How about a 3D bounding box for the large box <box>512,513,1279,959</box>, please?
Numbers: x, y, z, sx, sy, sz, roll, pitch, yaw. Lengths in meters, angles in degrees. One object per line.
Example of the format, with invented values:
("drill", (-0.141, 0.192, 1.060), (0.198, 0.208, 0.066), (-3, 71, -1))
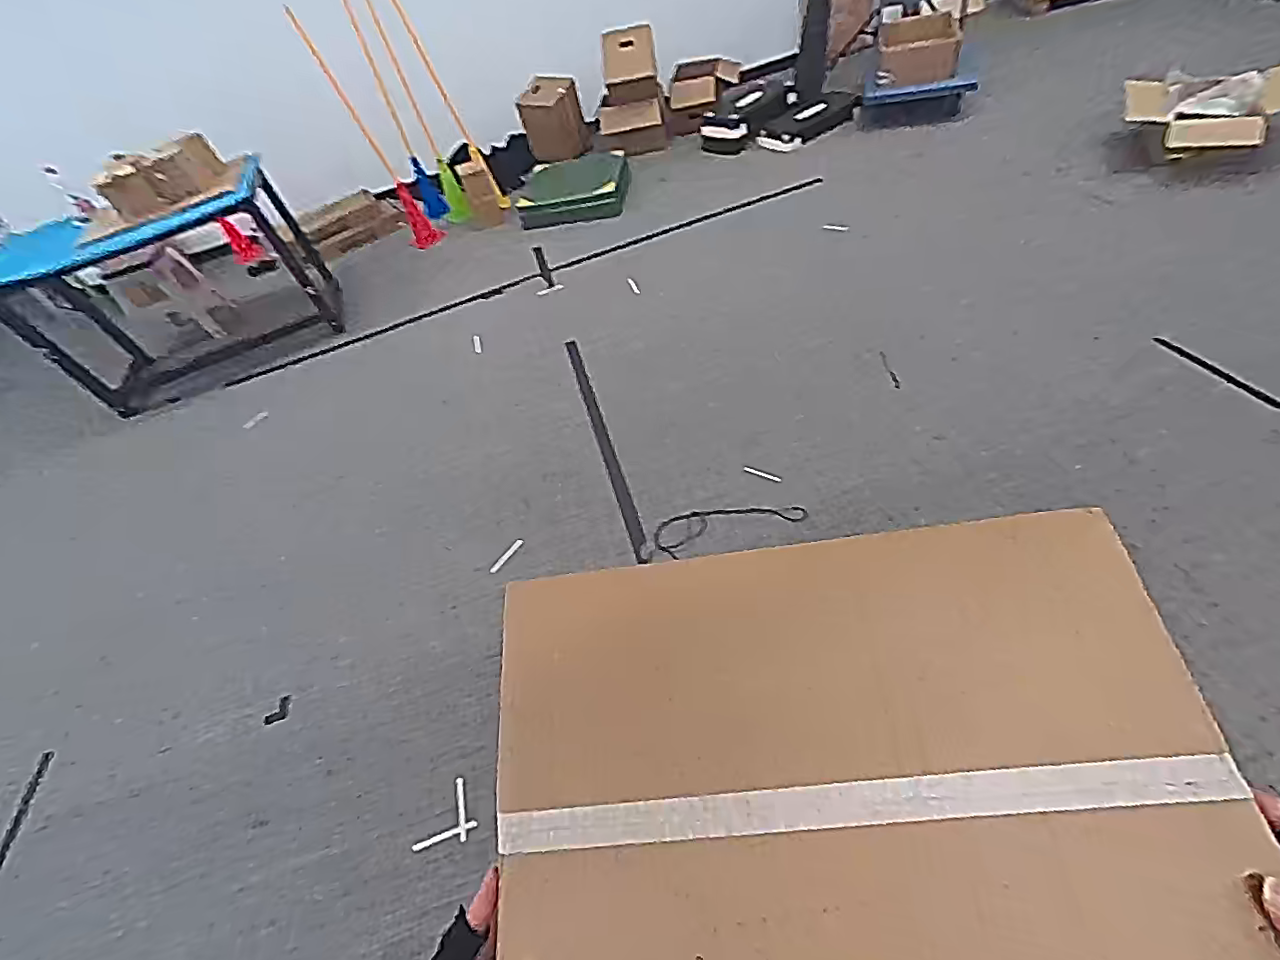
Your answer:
("large box", (0.139, 0.256, 0.448), (0.408, 0.320, 0.320), (-9, 63, 7))
